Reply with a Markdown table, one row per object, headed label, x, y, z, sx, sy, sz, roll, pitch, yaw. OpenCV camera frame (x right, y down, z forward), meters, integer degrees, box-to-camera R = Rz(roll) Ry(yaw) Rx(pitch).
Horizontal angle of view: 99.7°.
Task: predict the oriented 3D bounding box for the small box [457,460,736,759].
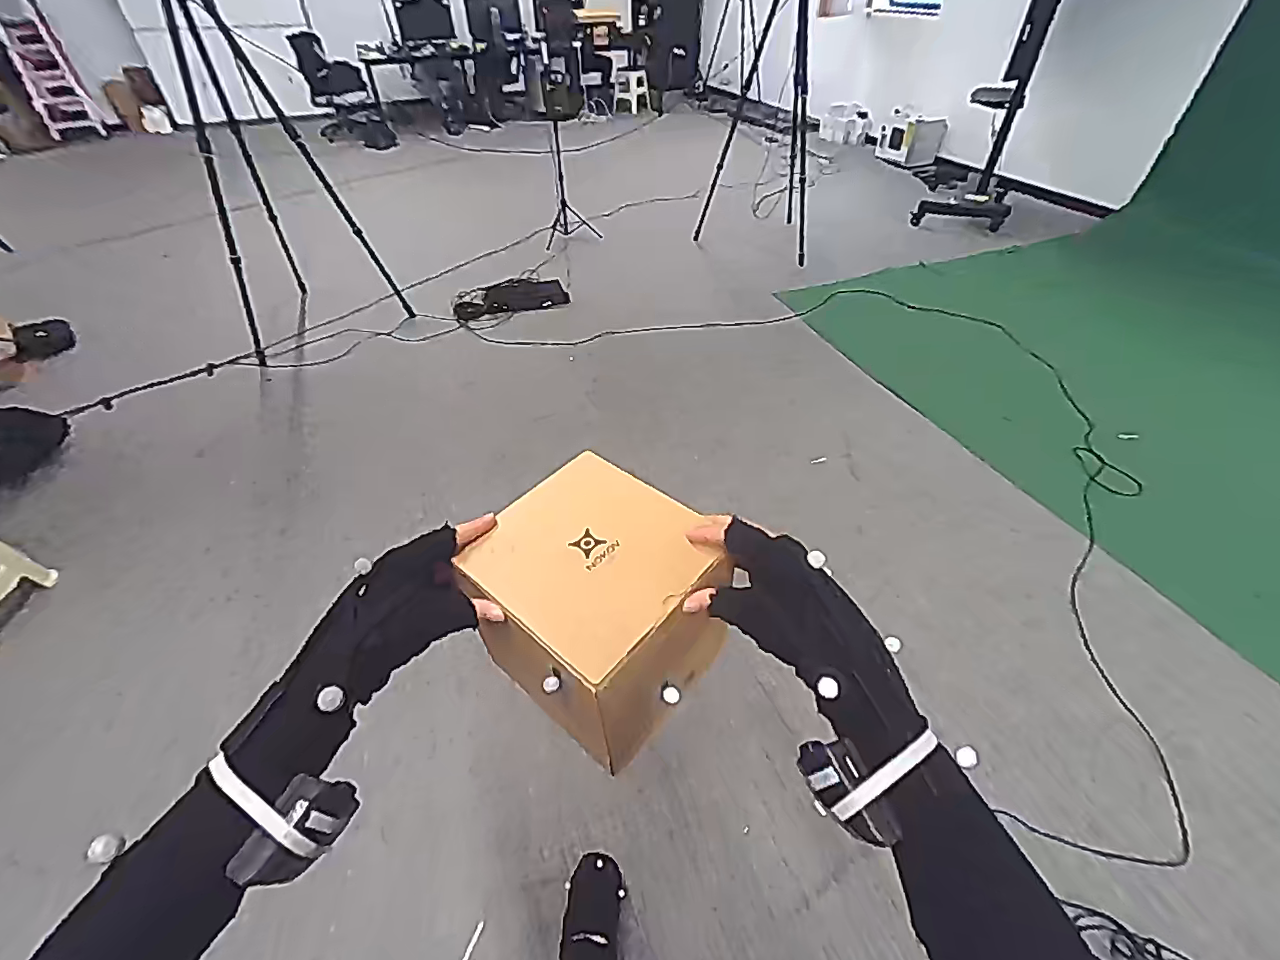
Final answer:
| label | x | y | z | sx | sy | sz | roll | pitch | yaw |
| --- | --- | --- | --- | --- | --- | --- | --- | --- | --- |
| small box | -0.036 | 0.117 | 0.502 | 0.179 | 0.176 | 0.168 | 31 | 52 | 29 |
